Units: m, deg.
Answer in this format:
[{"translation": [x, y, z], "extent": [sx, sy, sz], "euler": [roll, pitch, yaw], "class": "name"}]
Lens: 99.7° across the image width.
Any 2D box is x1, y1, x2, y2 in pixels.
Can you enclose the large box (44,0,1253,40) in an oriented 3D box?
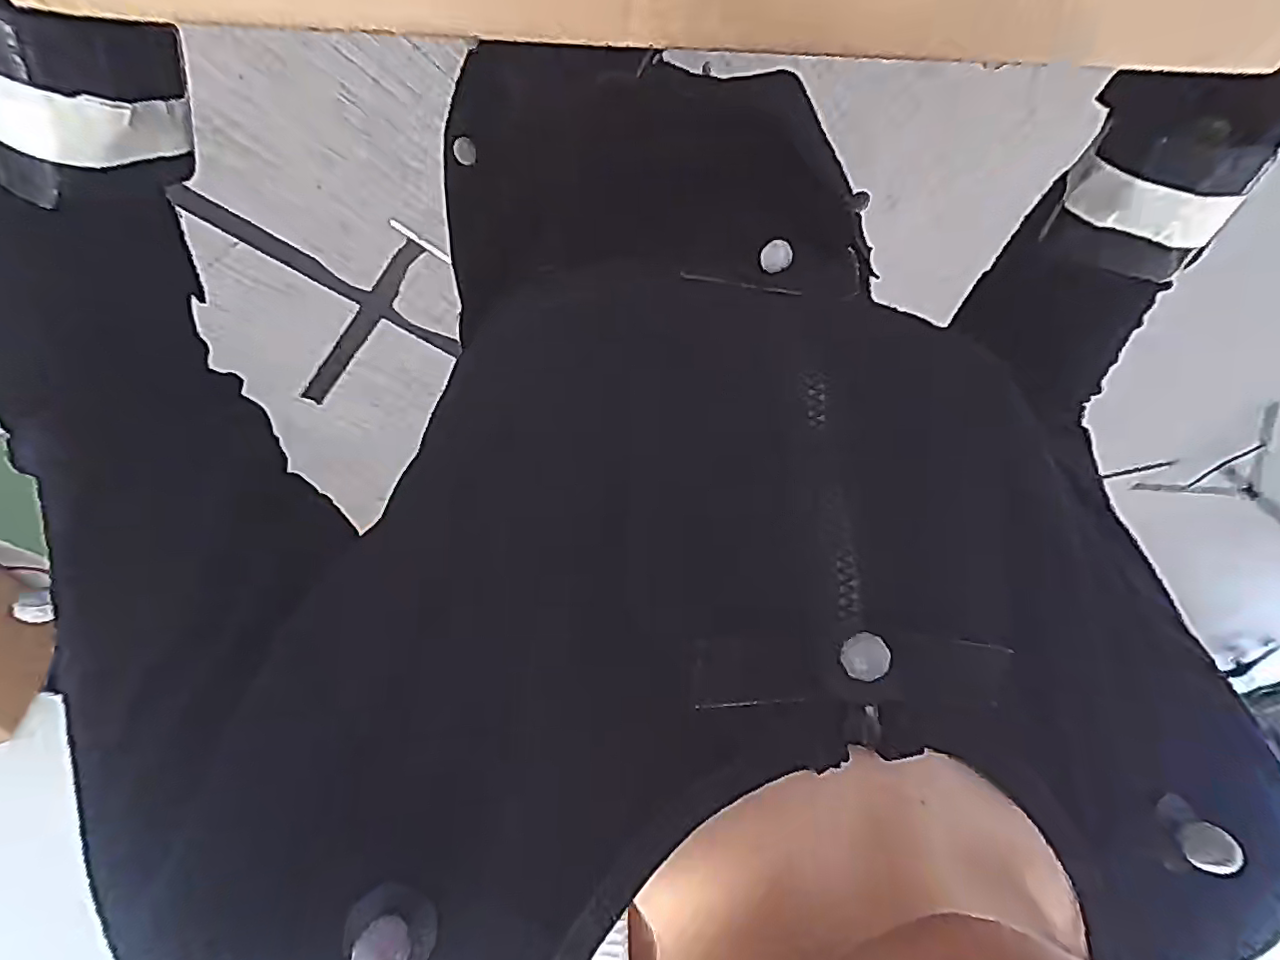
[{"translation": [0.013, -0.359, 0.140], "extent": [0.408, 0.320, 0.320], "euler": [-4, 144, -7], "class": "large box"}]
